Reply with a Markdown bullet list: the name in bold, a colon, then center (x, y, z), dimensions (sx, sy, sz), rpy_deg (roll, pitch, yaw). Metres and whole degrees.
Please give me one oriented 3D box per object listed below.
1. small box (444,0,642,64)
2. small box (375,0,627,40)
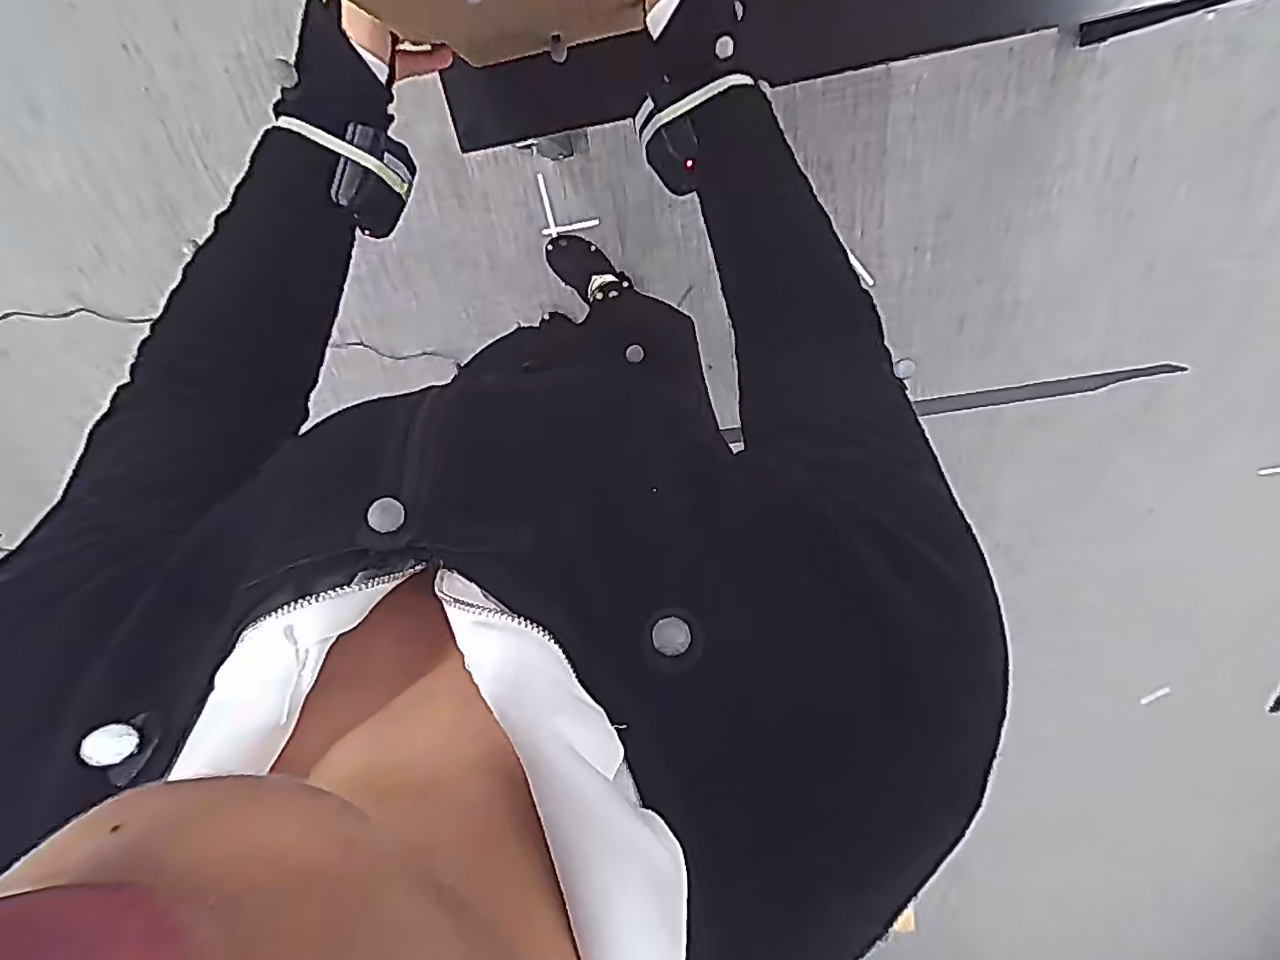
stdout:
- **small box**: center (-0.093, -0.463, 0.432), dimensions (0.179, 0.176, 0.168), rpy_deg (-11, 118, 3)
- **small box**: center (-0.091, -0.370, 0.294), dimensions (0.179, 0.176, 0.168), rpy_deg (-8, 119, 2)
